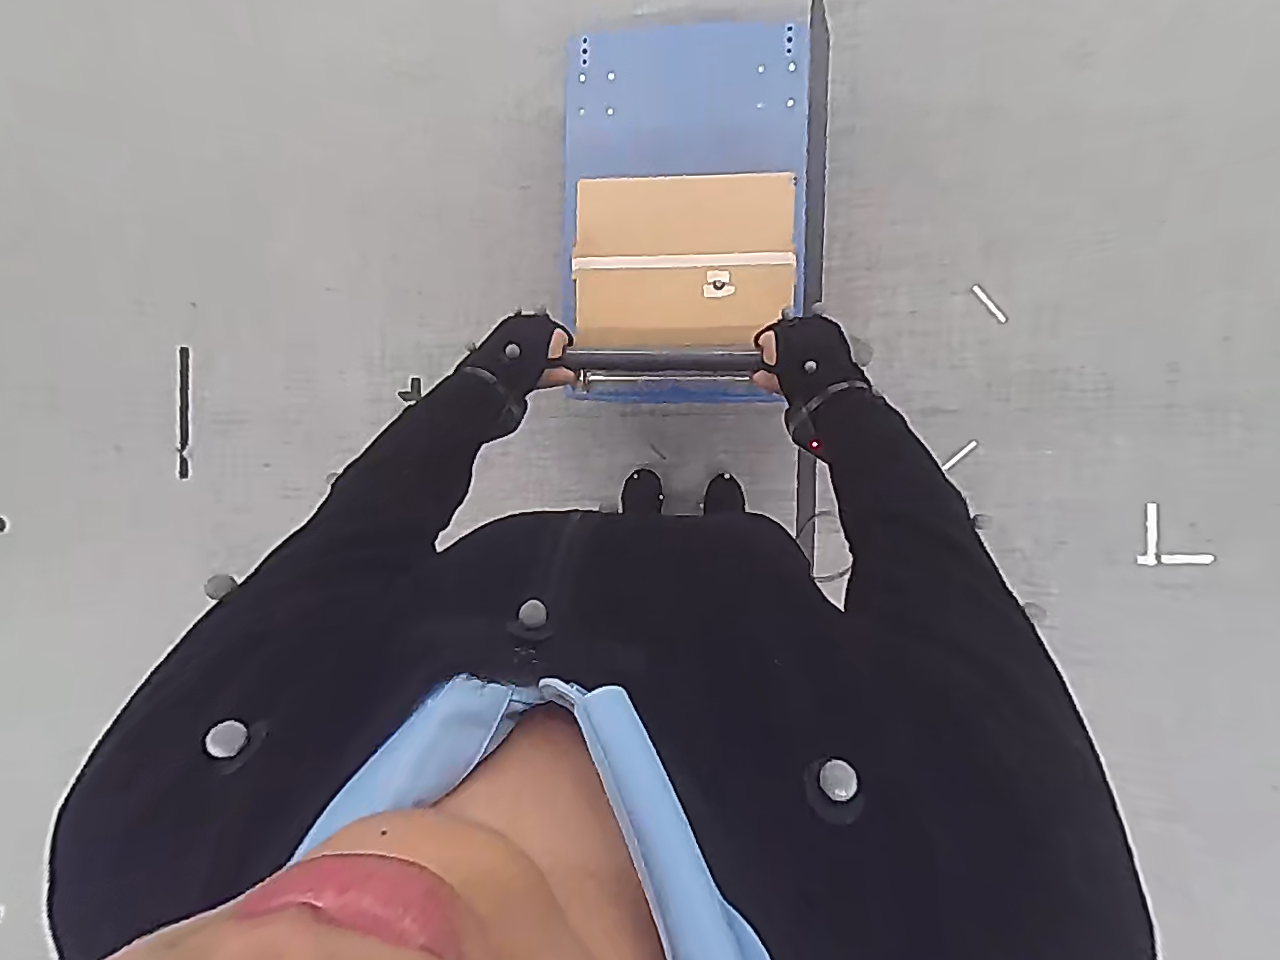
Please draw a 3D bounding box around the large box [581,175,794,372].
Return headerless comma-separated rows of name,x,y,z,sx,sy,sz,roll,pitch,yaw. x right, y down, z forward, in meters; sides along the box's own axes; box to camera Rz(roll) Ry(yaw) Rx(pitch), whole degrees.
large box,0.096,-0.416,1.166,0.408,0.320,0.320,0,93,5
